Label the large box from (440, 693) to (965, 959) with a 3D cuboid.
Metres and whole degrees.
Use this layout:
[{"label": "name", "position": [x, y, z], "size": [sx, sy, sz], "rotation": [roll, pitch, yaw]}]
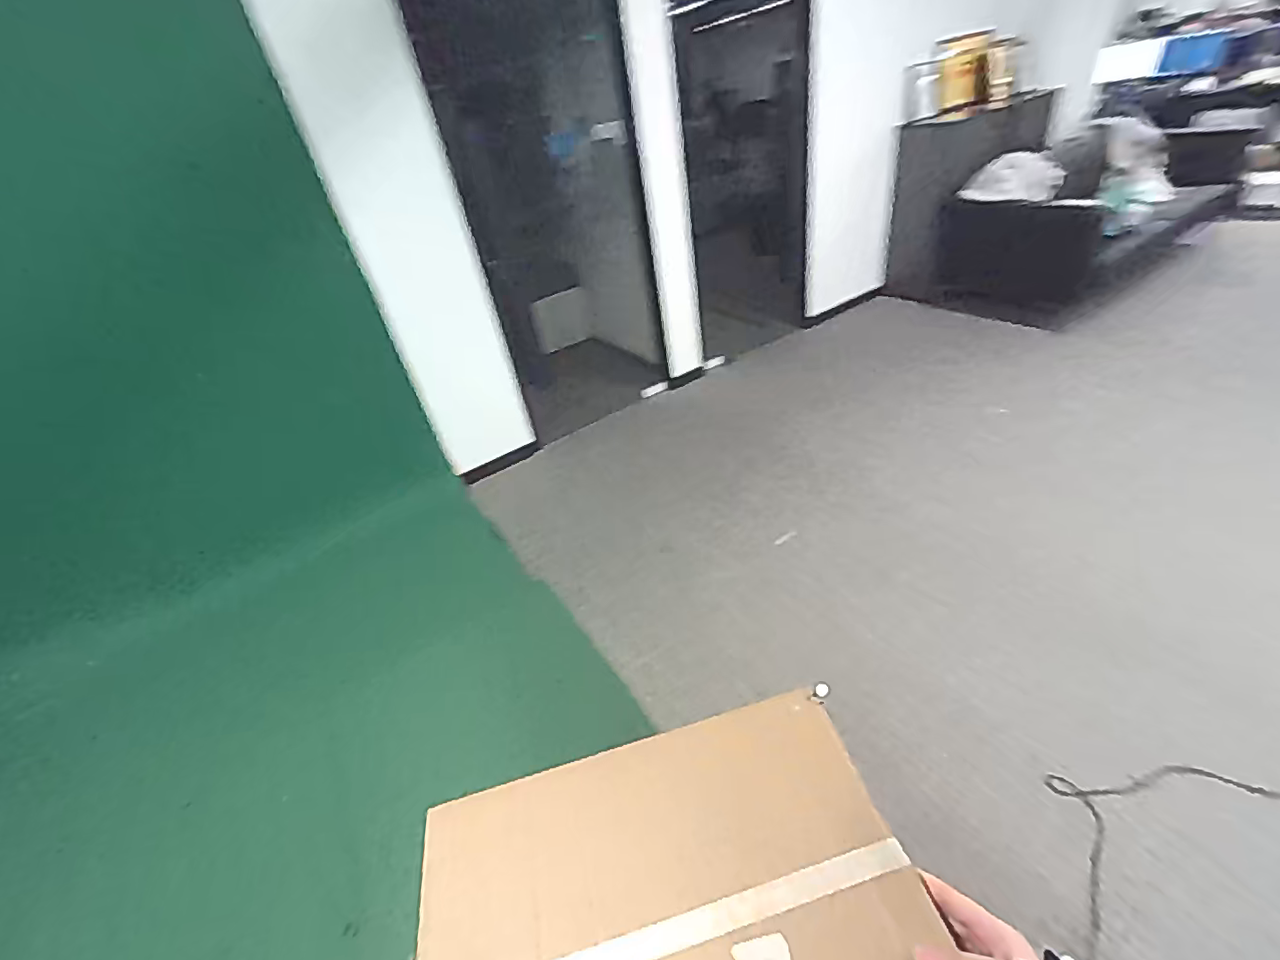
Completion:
[{"label": "large box", "position": [0.054, 0.478, 0.525], "size": [0.408, 0.320, 0.320], "rotation": [-14, 39, -5]}]
